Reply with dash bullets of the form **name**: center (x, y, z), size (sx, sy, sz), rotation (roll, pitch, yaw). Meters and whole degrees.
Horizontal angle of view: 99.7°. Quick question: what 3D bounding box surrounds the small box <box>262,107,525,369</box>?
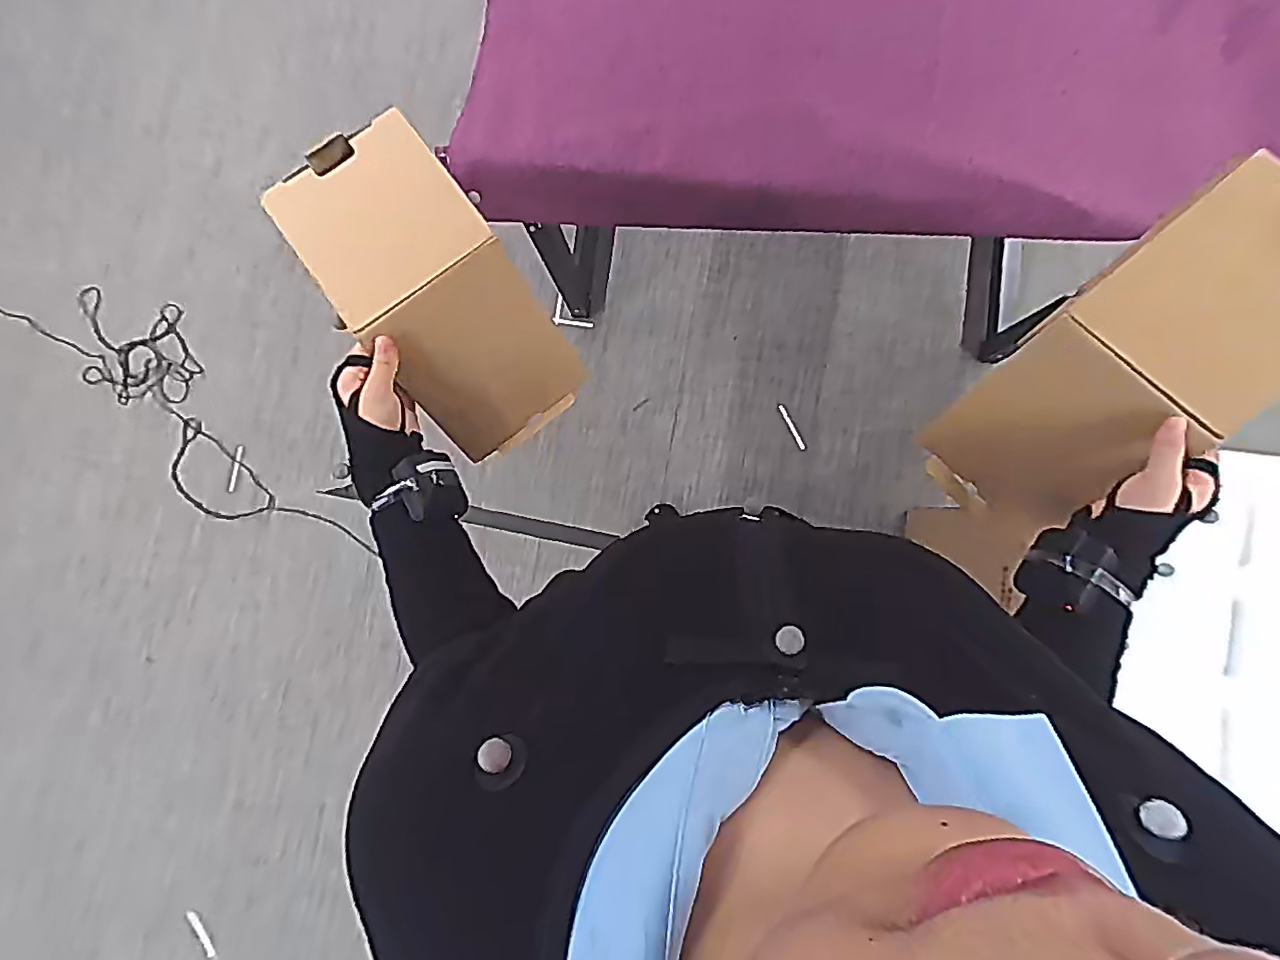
- **small box**: center (-0.251, -0.244, 0.599), size (0.168, 0.176, 0.179), rotation (-36, 83, -5)
